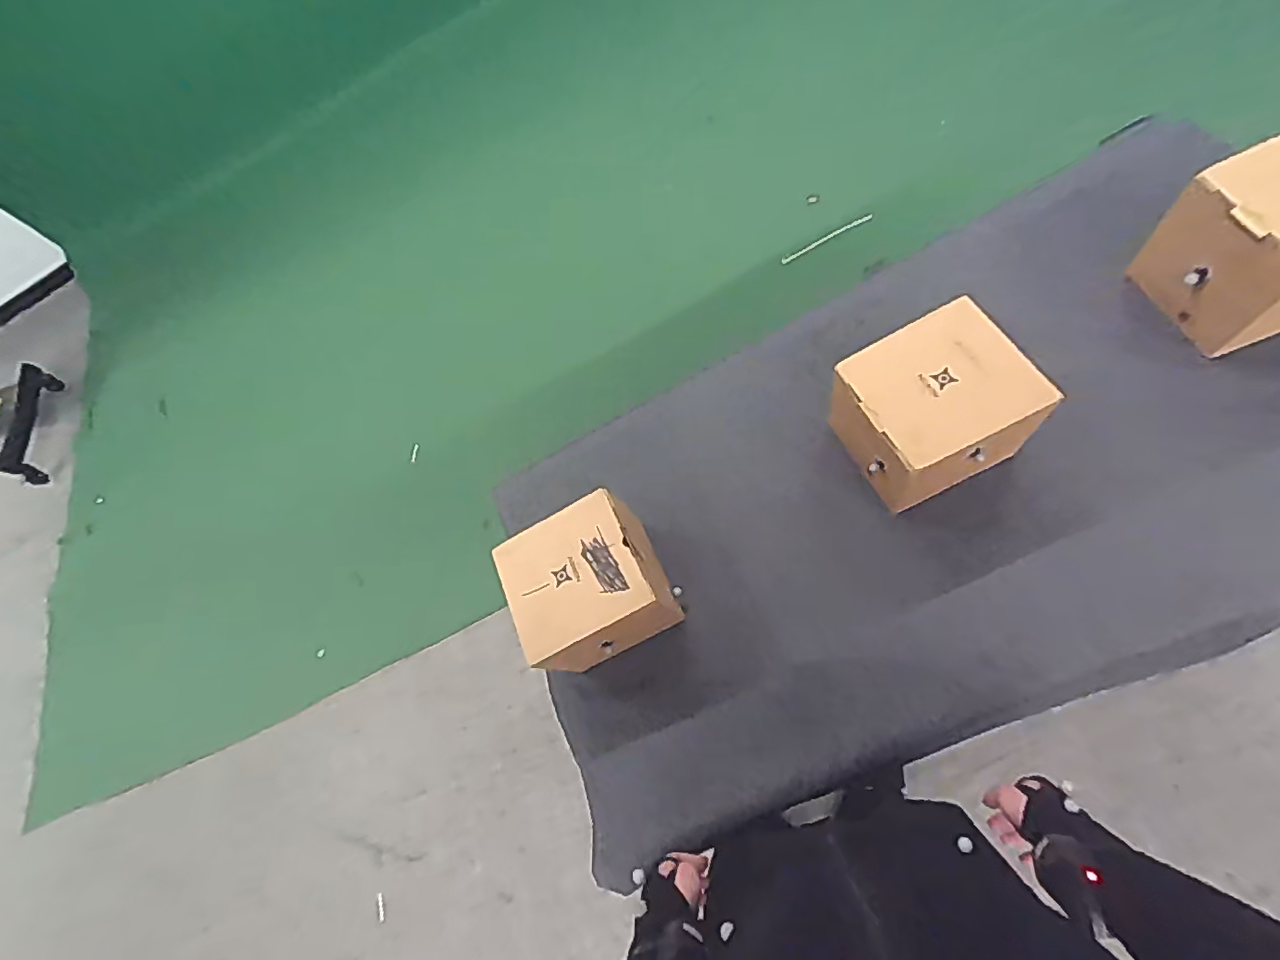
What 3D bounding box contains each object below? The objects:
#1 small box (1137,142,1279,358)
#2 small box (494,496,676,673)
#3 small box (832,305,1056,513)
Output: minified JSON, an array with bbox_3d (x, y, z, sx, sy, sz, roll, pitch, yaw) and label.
[{"bbox_3d":[0.752,-0.275,0.640,0.179,0.176,0.168,-22,65,9],"label":"small box"},{"bbox_3d":[-0.064,0.150,0.741,0.179,0.176,0.168,-29,63,6],"label":"small box"},{"bbox_3d":[0.366,-0.079,0.694,0.179,0.176,0.168,-28,65,5],"label":"small box"}]
